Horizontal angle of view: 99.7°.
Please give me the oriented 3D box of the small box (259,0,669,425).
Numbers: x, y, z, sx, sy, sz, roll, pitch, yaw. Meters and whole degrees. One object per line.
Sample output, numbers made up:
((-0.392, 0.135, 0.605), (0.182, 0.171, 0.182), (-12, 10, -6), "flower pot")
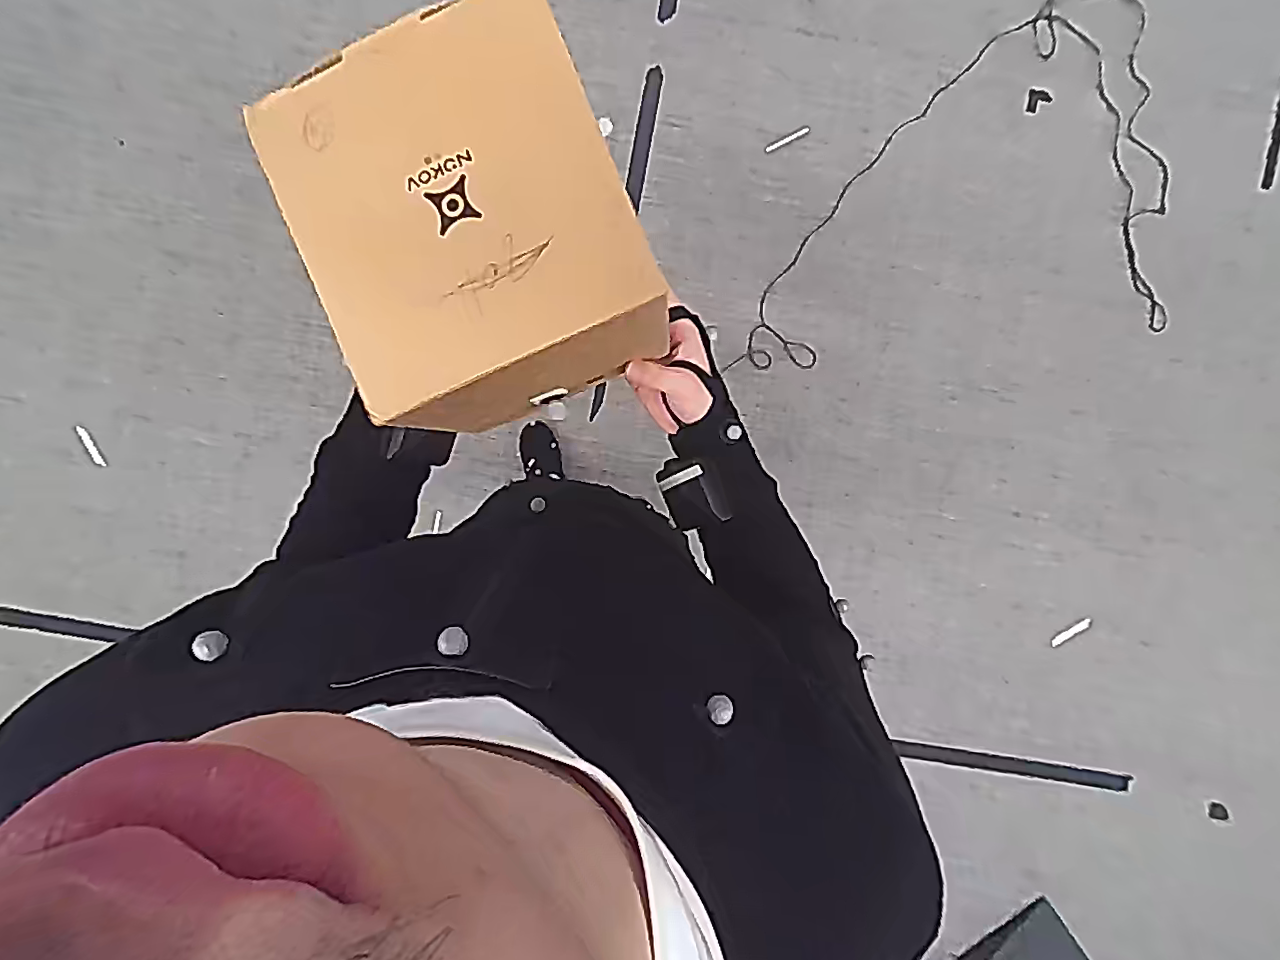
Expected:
((-0.089, -0.148, 0.360), (0.168, 0.176, 0.179), (-25, 91, 5), "small box")
